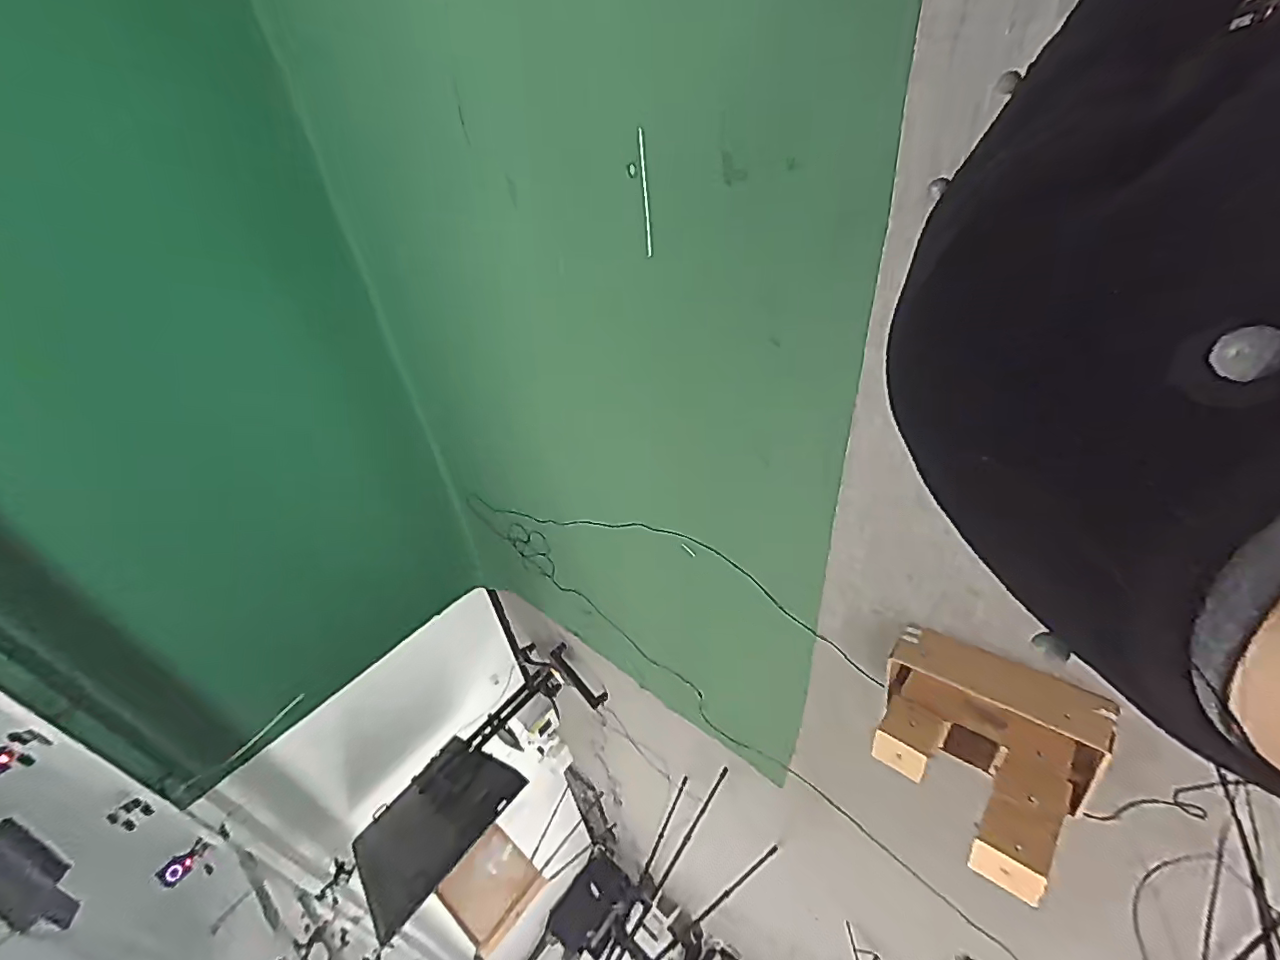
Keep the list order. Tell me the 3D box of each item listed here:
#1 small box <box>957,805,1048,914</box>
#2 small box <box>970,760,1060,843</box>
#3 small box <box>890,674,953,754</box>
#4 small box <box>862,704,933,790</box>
[{"bbox_3d":[1.053,1.089,1.571,0.179,0.176,0.168,16,129,38],"label":"small box"},{"bbox_3d":[1.158,1.012,1.667,0.179,0.176,0.168,22,133,36],"label":"small box"},{"bbox_3d":[1.011,0.844,1.965,0.179,0.176,0.168,21,133,35],"label":"small box"},{"bbox_3d":[0.893,0.919,1.875,0.168,0.176,0.179,22,135,36],"label":"small box"}]
